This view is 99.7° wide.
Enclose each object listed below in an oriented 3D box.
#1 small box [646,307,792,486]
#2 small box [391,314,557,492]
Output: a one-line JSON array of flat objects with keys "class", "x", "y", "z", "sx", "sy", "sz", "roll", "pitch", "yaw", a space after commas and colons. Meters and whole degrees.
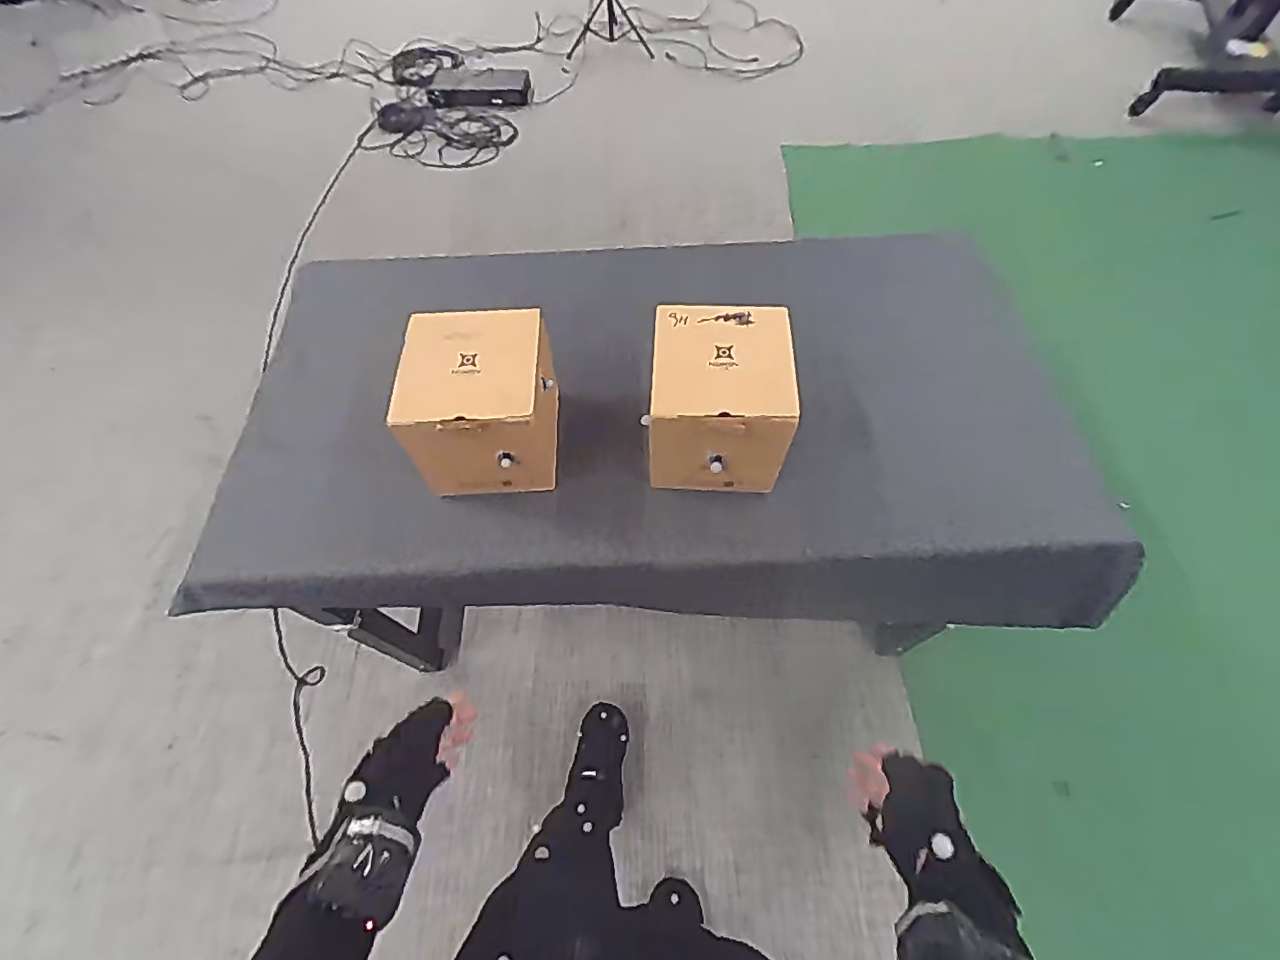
[{"class": "small box", "x": 0.097, "y": -0.103, "z": 0.710, "sx": 0.168, "sy": 0.176, "sz": 0.179, "roll": 1, "pitch": 62, "yaw": 3}, {"class": "small box", "x": -0.204, "y": -0.094, "z": 0.721, "sx": 0.168, "sy": 0.176, "sz": 0.179, "roll": -4, "pitch": 59, "yaw": -1}]
